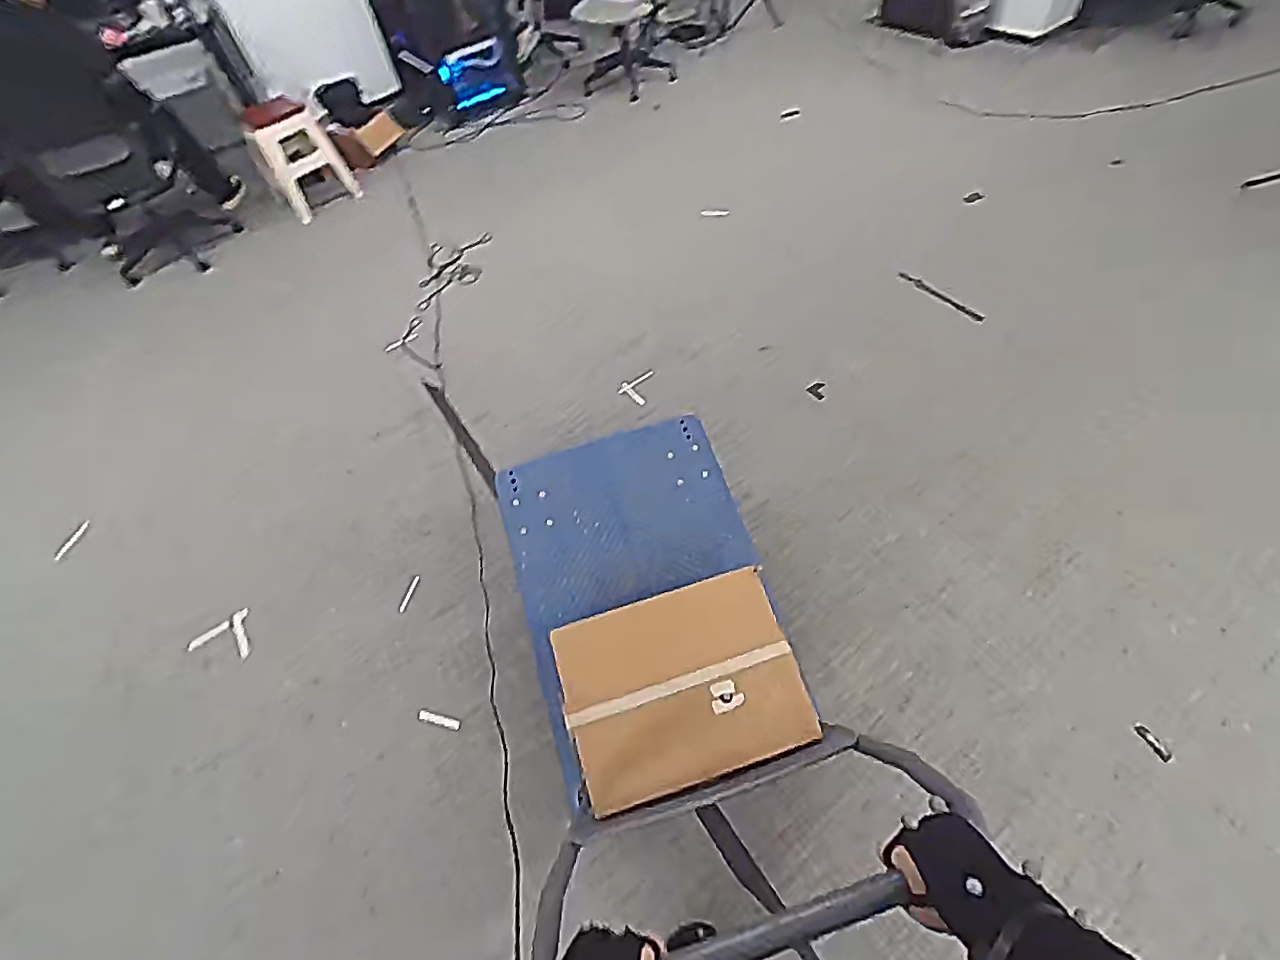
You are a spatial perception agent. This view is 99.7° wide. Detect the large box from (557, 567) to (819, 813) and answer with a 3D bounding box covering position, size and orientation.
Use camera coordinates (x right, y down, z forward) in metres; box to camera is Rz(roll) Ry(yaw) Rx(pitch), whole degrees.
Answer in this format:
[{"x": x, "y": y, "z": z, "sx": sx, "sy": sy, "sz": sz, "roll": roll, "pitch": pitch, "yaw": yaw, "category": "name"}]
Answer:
[{"x": 0.080, "y": 0.417, "z": 1.104, "sx": 0.408, "sy": 0.320, "sz": 0.320, "roll": -17, "pitch": 69, "yaw": -6, "category": "large box"}]
